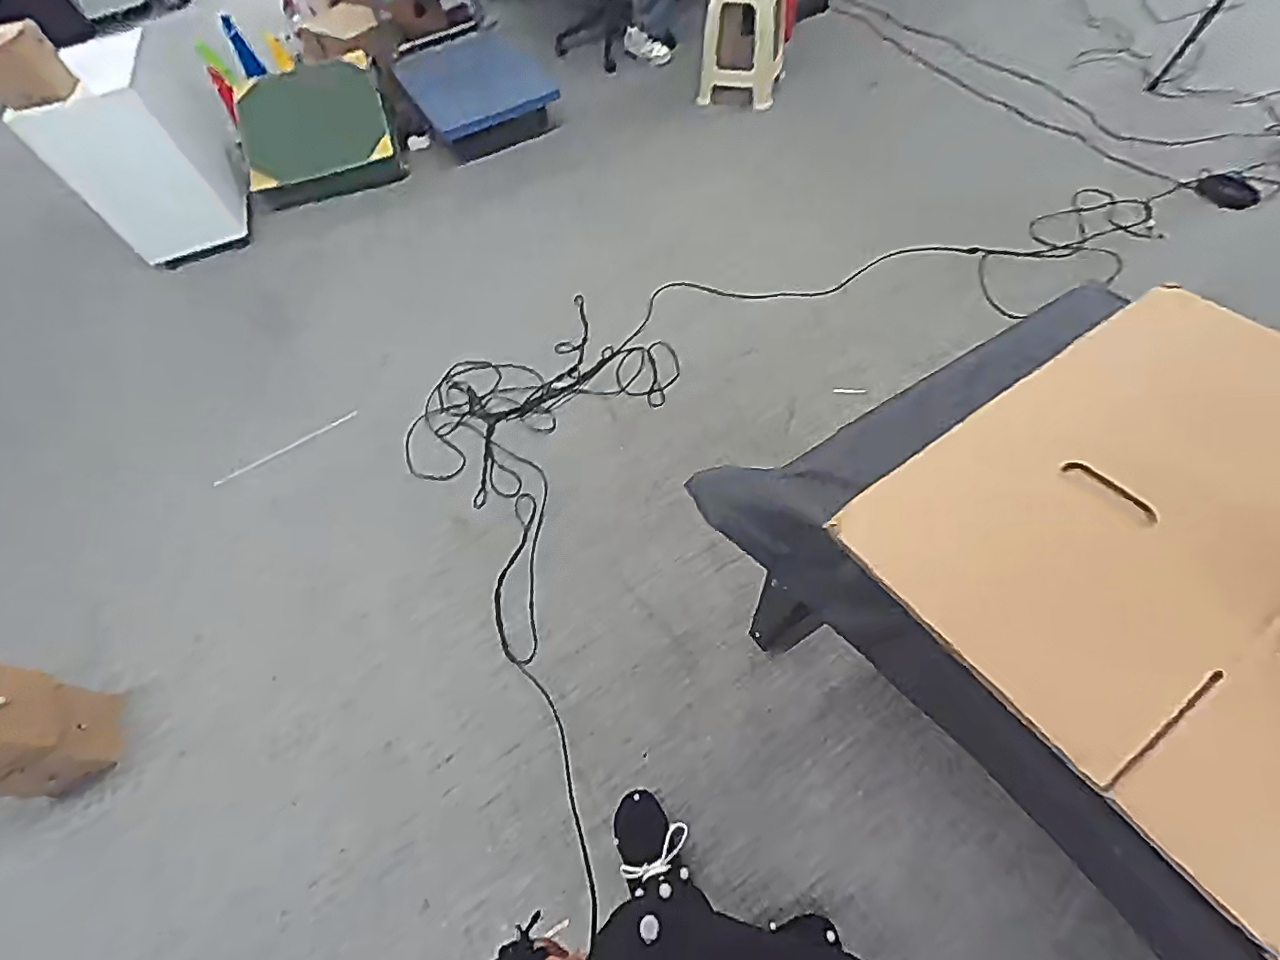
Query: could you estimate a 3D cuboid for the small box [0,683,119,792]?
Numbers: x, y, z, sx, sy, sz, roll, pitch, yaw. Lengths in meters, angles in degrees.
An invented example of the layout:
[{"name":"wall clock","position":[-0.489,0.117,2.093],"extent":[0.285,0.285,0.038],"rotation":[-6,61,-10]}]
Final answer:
[{"name":"small box","position":[-1.355,0.590,1.241],"extent":[0.168,0.176,0.179],"rotation":[-27,61,-11]}]
